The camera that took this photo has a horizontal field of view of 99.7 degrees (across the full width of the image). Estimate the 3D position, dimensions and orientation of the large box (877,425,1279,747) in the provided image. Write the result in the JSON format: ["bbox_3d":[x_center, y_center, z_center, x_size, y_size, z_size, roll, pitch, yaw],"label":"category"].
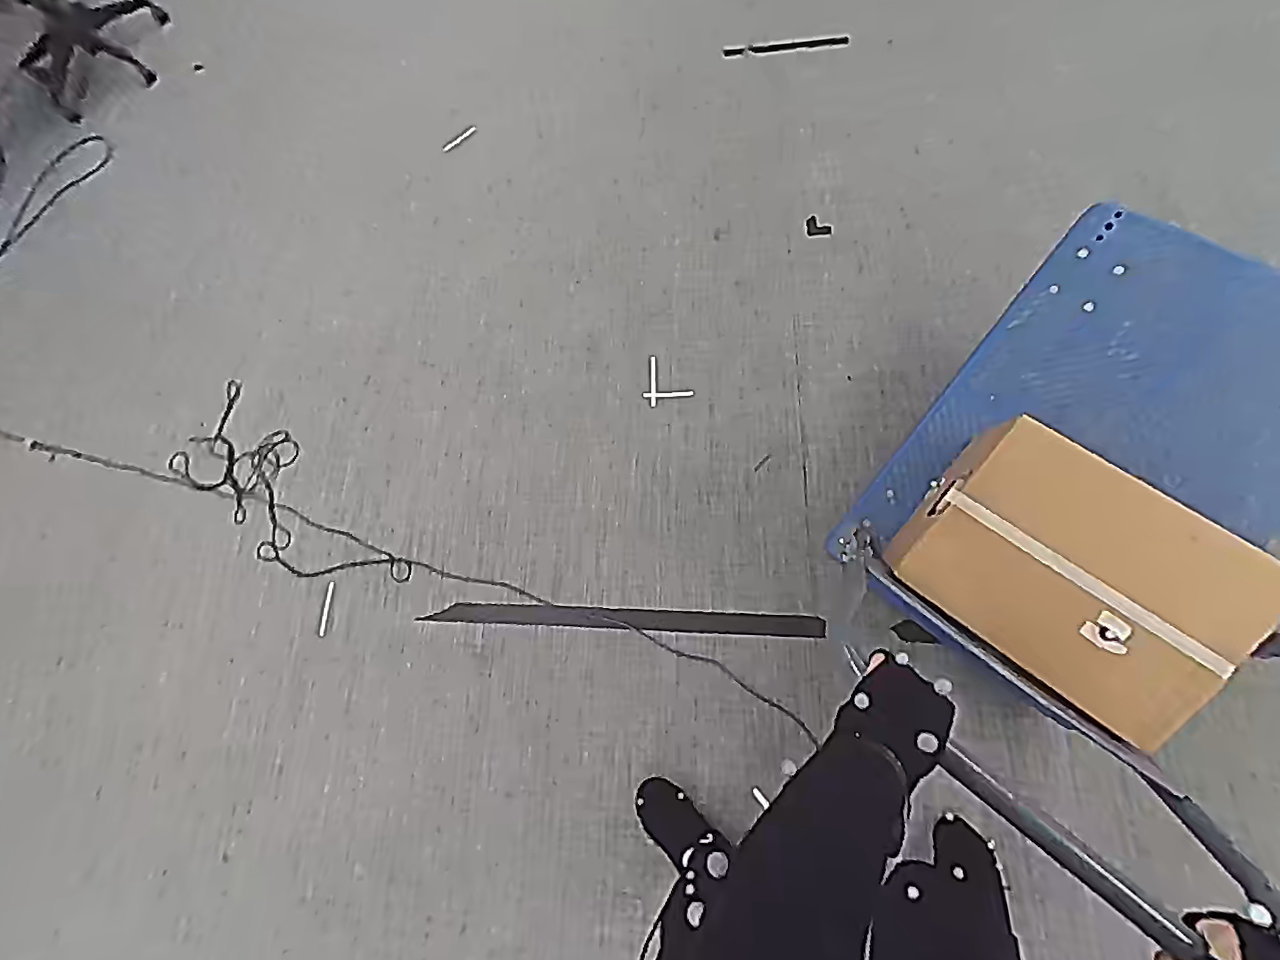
[{"bbox_3d":[0.691,0.152,0.943,0.408,0.320,0.320,38,101,17],"label":"large box"}]
